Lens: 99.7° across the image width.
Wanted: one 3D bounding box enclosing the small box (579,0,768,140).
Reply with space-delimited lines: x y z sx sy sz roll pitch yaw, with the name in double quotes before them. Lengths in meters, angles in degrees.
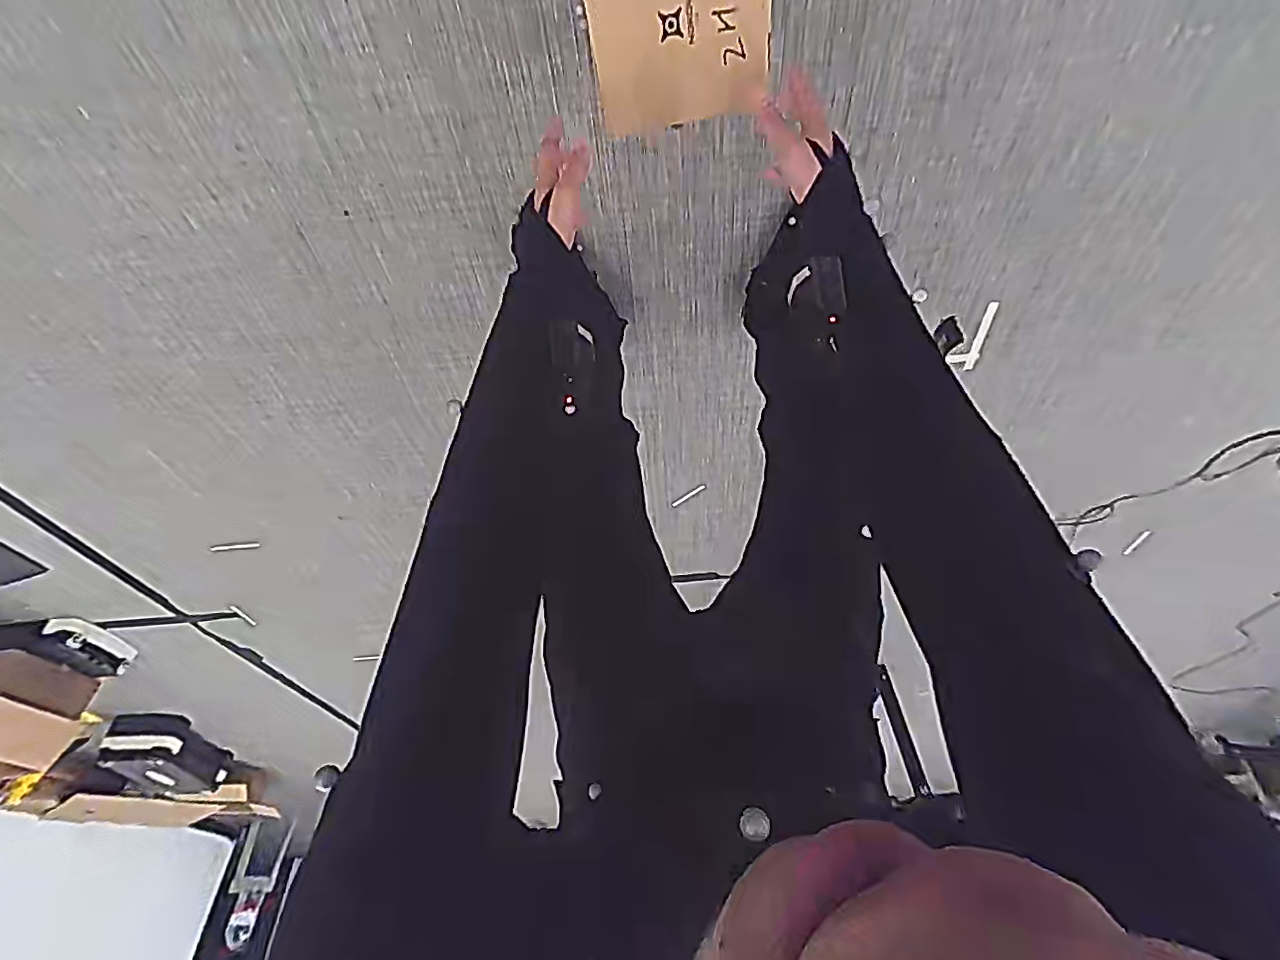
"small box" 0.034 -0.490 0.573 0.179 0.176 0.168 -8 138 5
